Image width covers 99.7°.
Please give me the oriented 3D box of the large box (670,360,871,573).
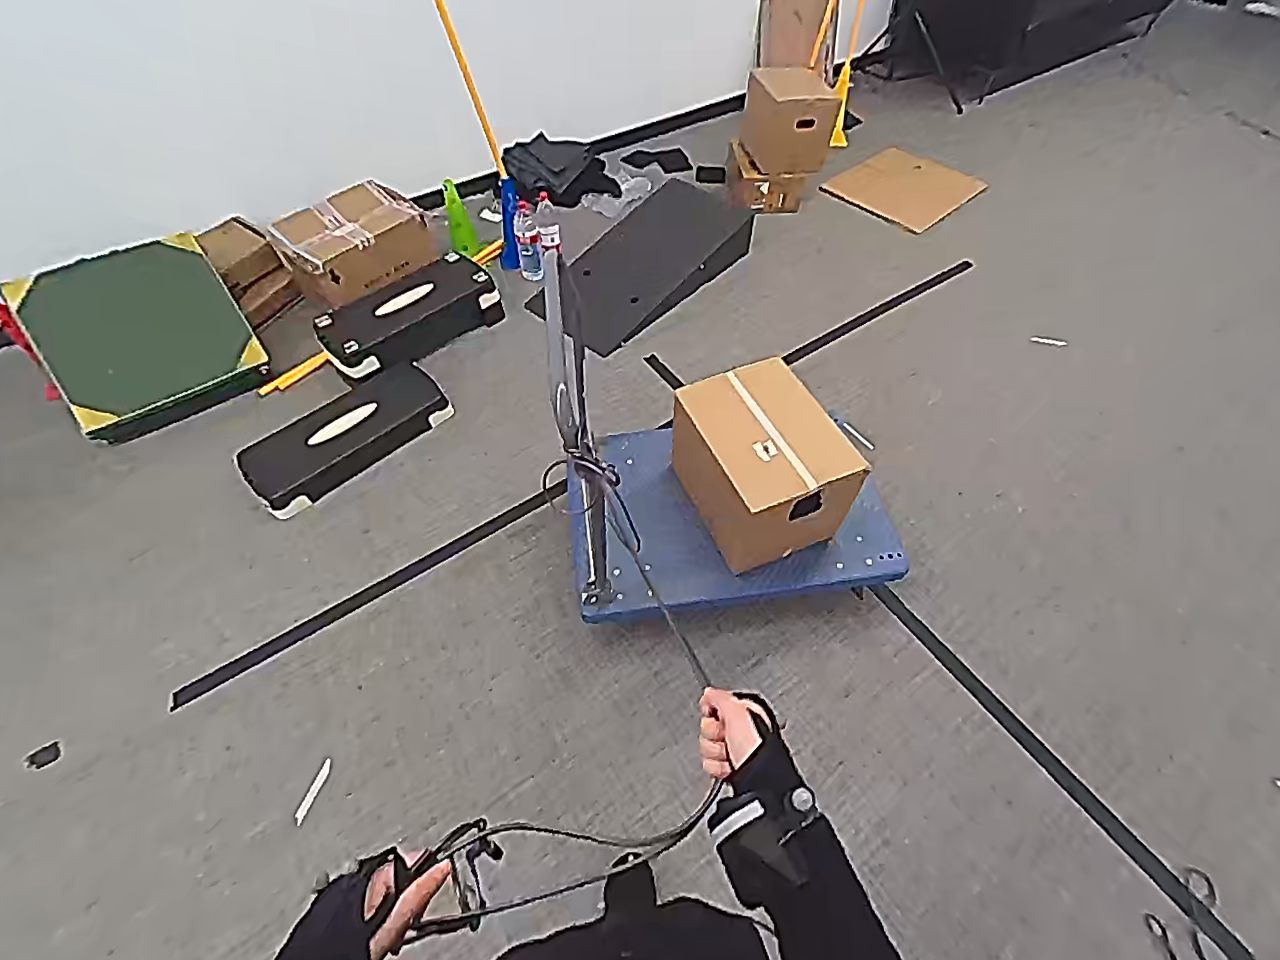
[{"bbox_3d":[0.304,-0.036,1.407,0.320,0.320,0.408,-20,58,-12],"label":"large box"}]
